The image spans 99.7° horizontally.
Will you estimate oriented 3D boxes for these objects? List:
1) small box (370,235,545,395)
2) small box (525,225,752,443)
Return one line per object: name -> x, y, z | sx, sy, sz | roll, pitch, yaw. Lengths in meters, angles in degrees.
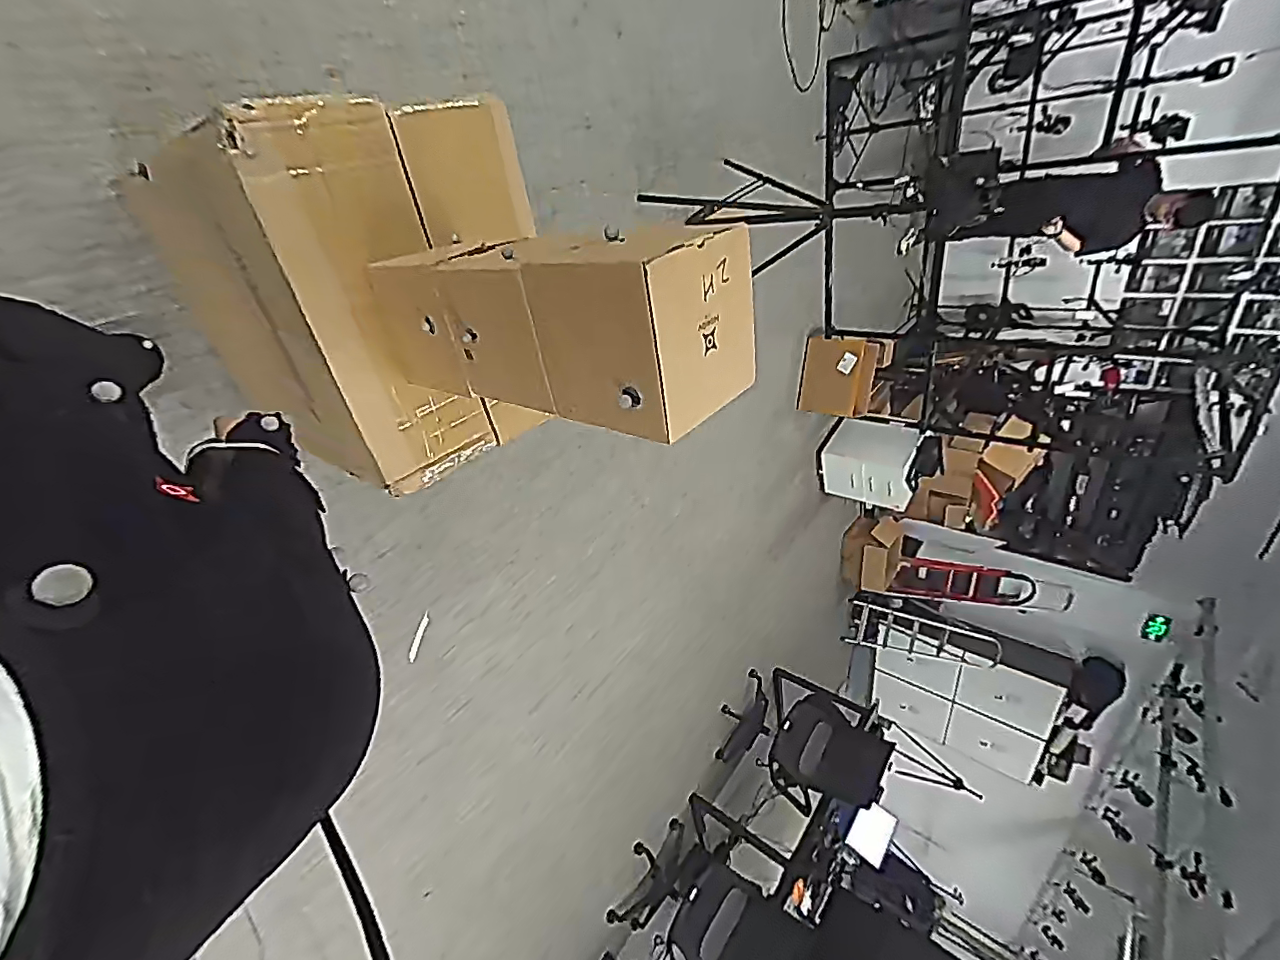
small box -> -0.251, -0.241, 0.776 | 0.168, 0.176, 0.179 | -37, 131, -38
small box -> 0.005, -0.165, 0.582 | 0.168, 0.176, 0.179 | -37, 130, -38
